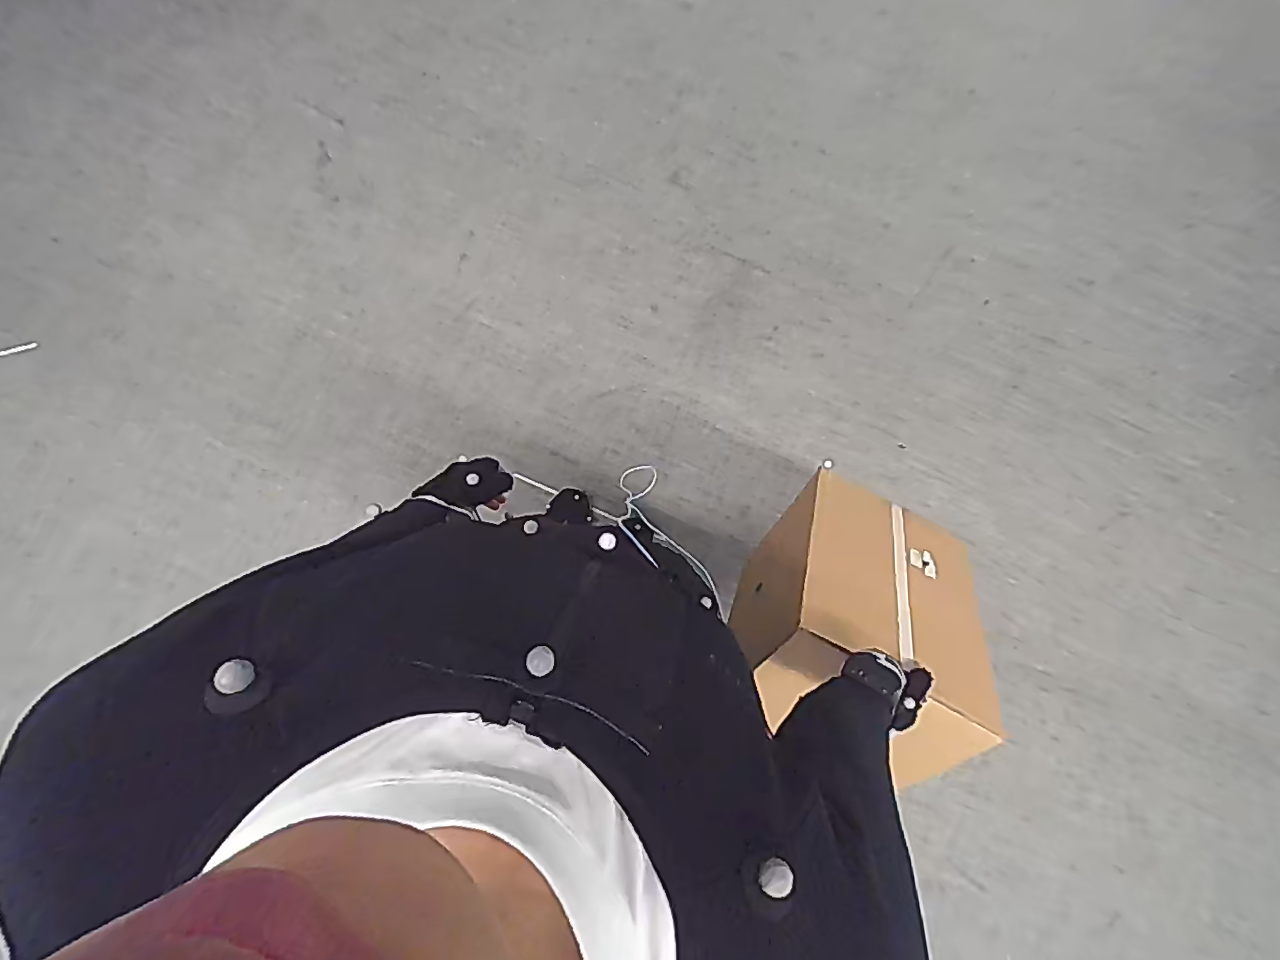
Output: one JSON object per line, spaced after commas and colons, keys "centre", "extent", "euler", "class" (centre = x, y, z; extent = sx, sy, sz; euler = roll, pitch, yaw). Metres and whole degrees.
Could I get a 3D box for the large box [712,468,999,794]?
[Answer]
{"centre": [0.363, 0.260, 0.978], "extent": [0.320, 0.408, 0.320], "euler": [29, 130, 1], "class": "large box"}
